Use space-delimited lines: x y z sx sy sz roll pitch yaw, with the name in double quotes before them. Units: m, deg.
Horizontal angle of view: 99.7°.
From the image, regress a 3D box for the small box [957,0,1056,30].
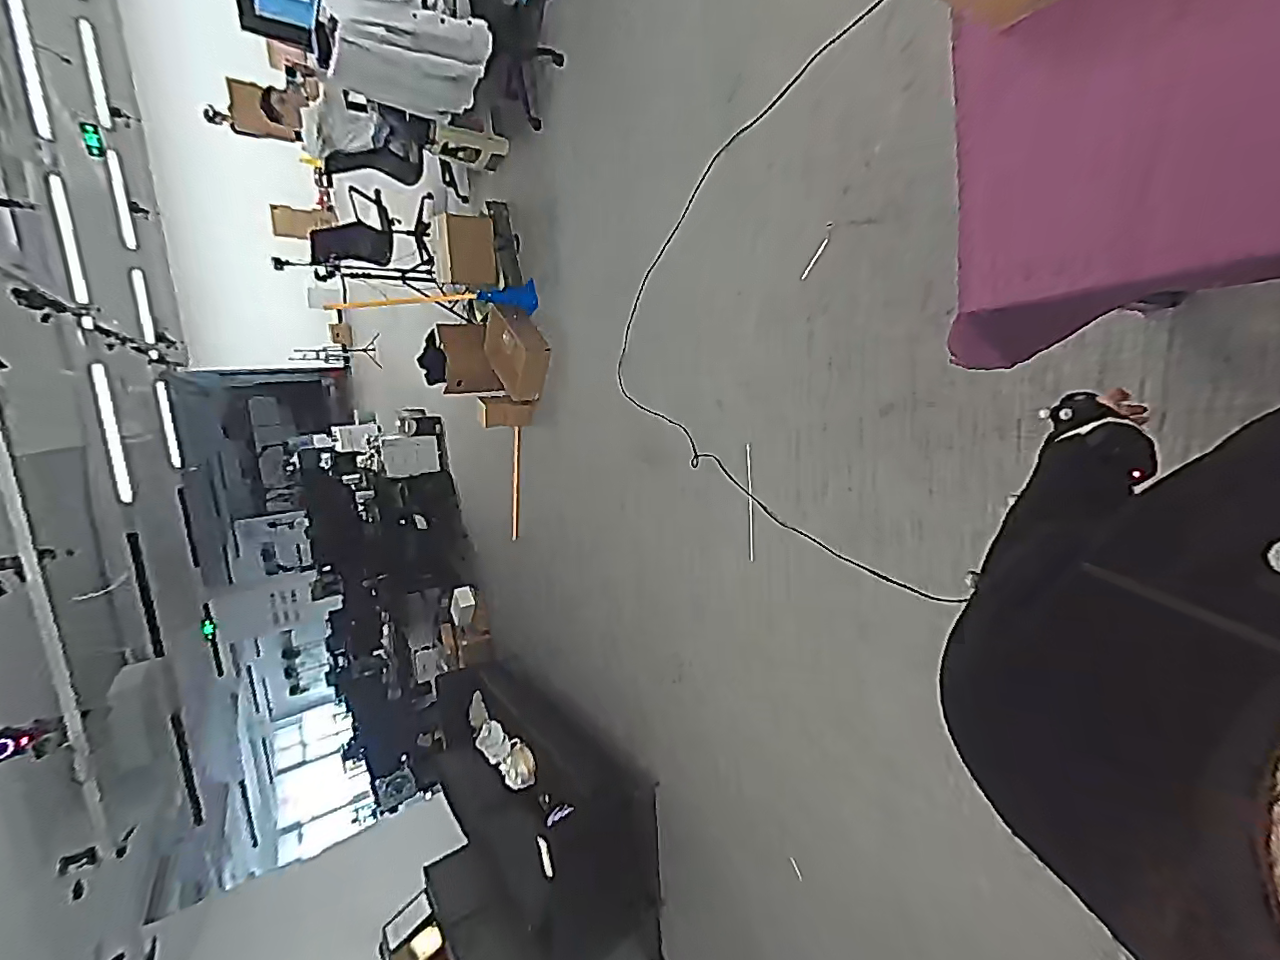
"small box" 0.416 -0.629 0.562 0.168 0.176 0.179 7 104 55
